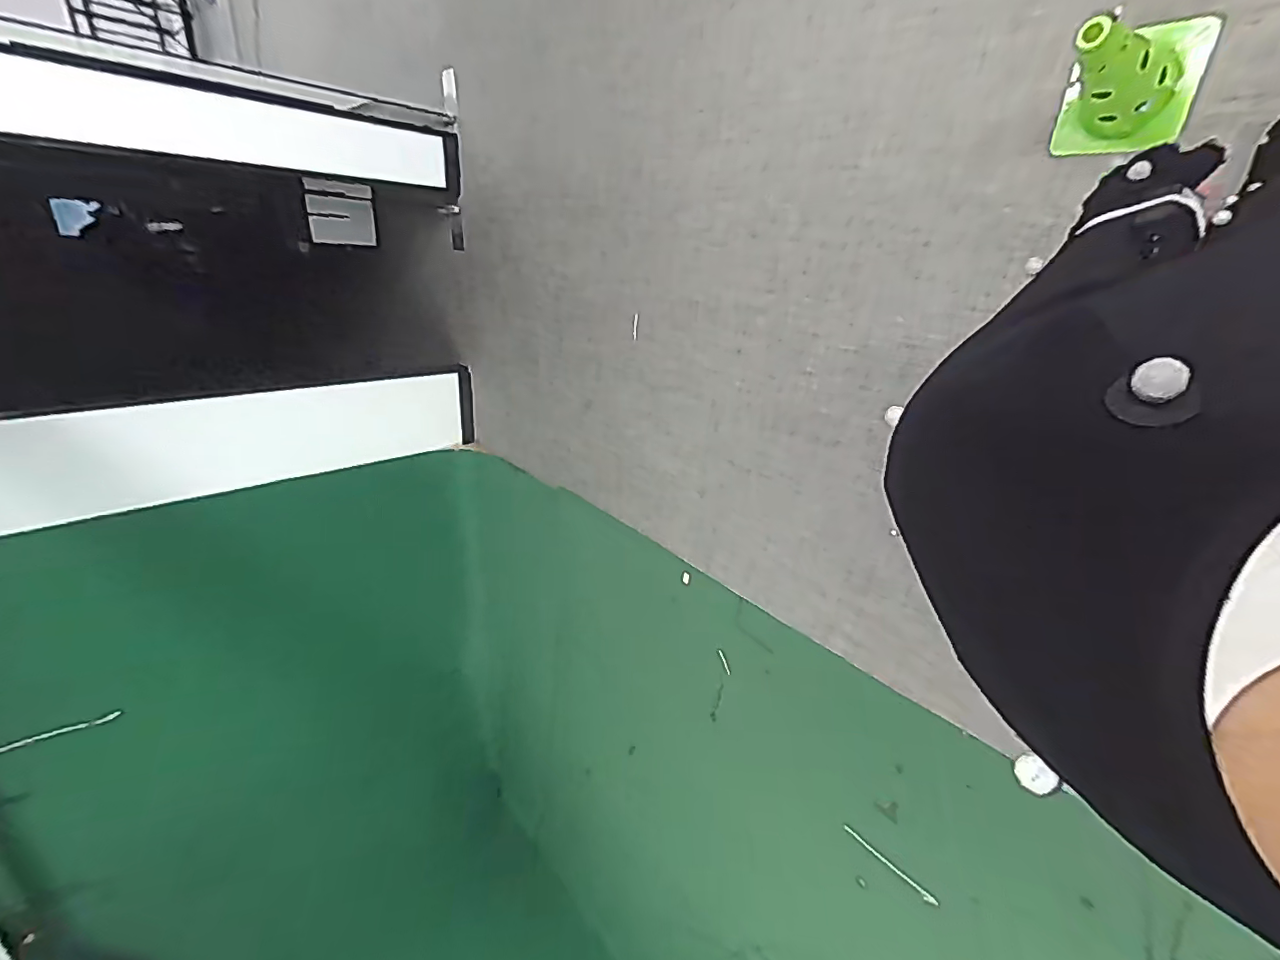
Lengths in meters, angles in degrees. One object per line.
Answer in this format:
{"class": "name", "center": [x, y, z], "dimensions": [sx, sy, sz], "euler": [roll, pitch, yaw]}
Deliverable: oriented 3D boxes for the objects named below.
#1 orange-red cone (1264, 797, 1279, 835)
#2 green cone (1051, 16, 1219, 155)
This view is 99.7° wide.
{"class": "orange-red cone", "center": [1.232, 0.694, 0.905], "dimensions": [0.198, 0.360, 0.199], "euler": [27, 121, 40]}
{"class": "green cone", "center": [0.801, -0.694, 0.912], "dimensions": [0.202, 0.368, 0.200], "euler": [24, 121, 40]}
